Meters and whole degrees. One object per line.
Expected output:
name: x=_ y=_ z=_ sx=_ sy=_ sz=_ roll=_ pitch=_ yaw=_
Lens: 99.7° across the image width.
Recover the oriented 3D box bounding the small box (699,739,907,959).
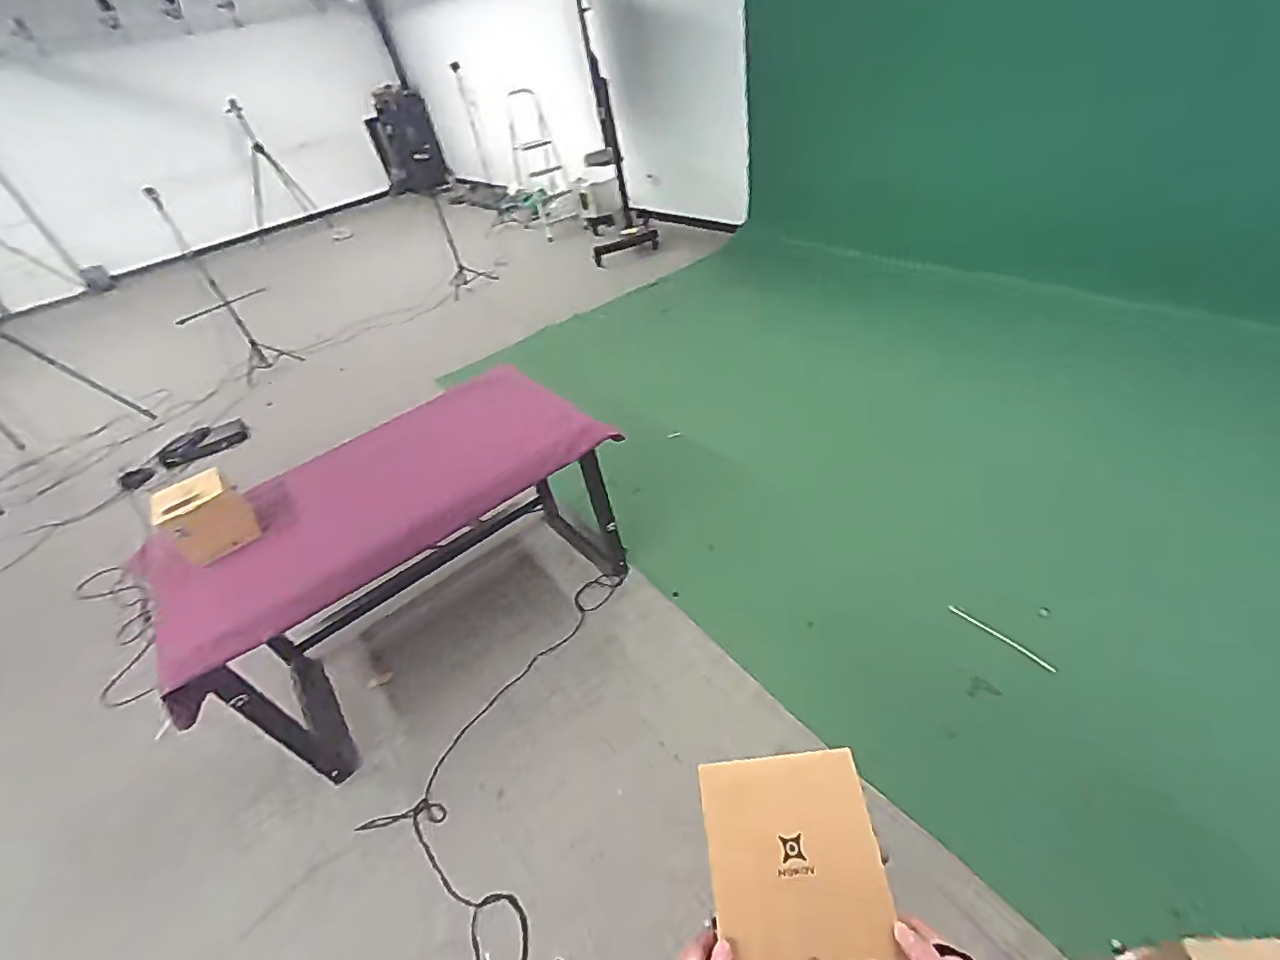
small box: x=0.157 y=0.402 z=0.595 sx=0.168 sy=0.176 sz=0.179 roll=-8 pitch=56 yaw=1

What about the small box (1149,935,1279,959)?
small box: x=0.910 y=0.791 z=0.795 sx=0.179 sy=0.176 sz=0.168 roll=-6 pitch=42 yaw=7
